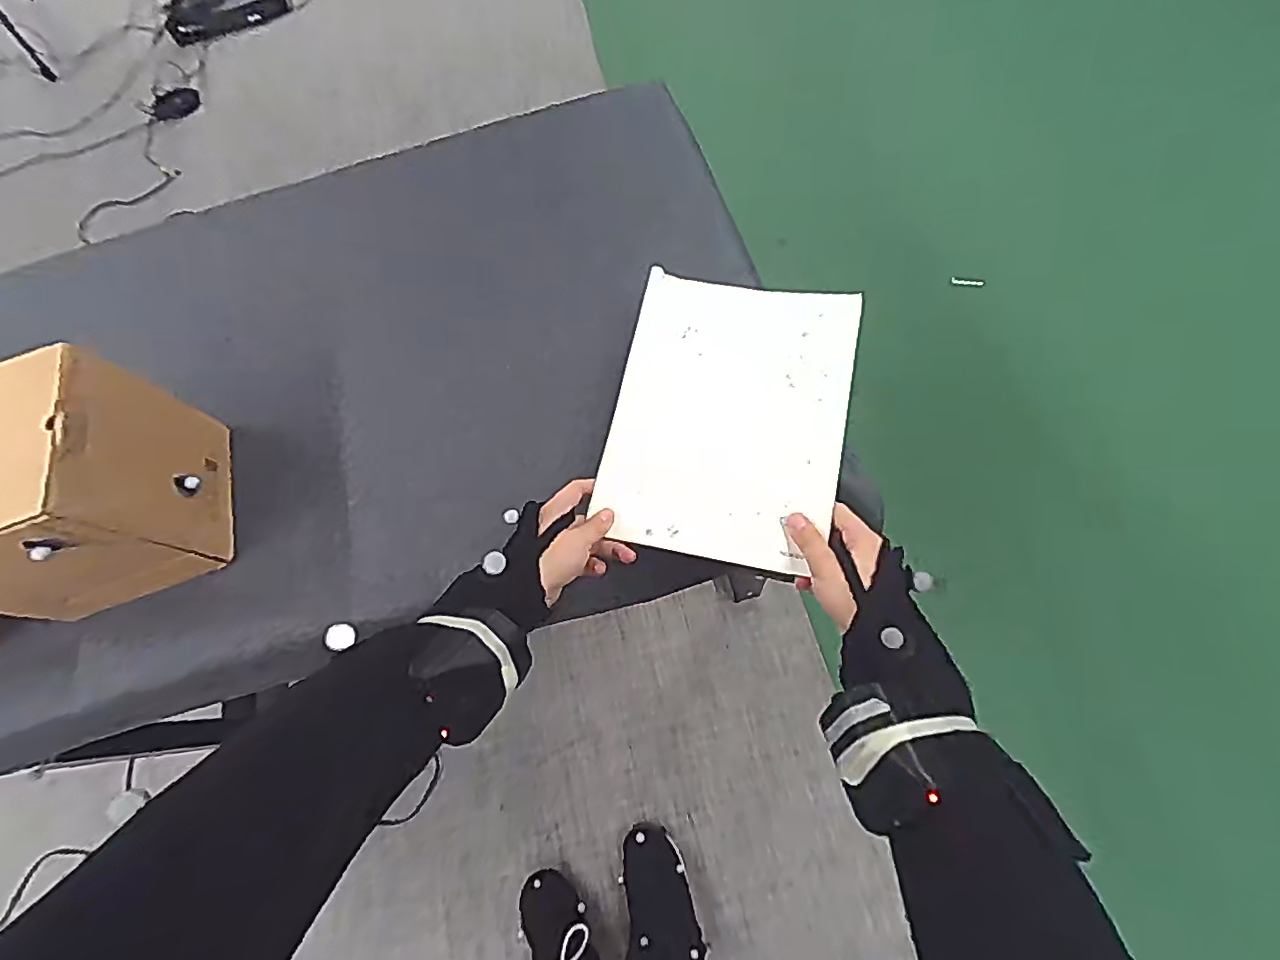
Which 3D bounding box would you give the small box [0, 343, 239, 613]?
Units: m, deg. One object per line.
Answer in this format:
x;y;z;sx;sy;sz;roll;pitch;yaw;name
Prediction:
-0.520;0.011;0.501;0.179;0.176;0.168;-20;67;-1;small box
